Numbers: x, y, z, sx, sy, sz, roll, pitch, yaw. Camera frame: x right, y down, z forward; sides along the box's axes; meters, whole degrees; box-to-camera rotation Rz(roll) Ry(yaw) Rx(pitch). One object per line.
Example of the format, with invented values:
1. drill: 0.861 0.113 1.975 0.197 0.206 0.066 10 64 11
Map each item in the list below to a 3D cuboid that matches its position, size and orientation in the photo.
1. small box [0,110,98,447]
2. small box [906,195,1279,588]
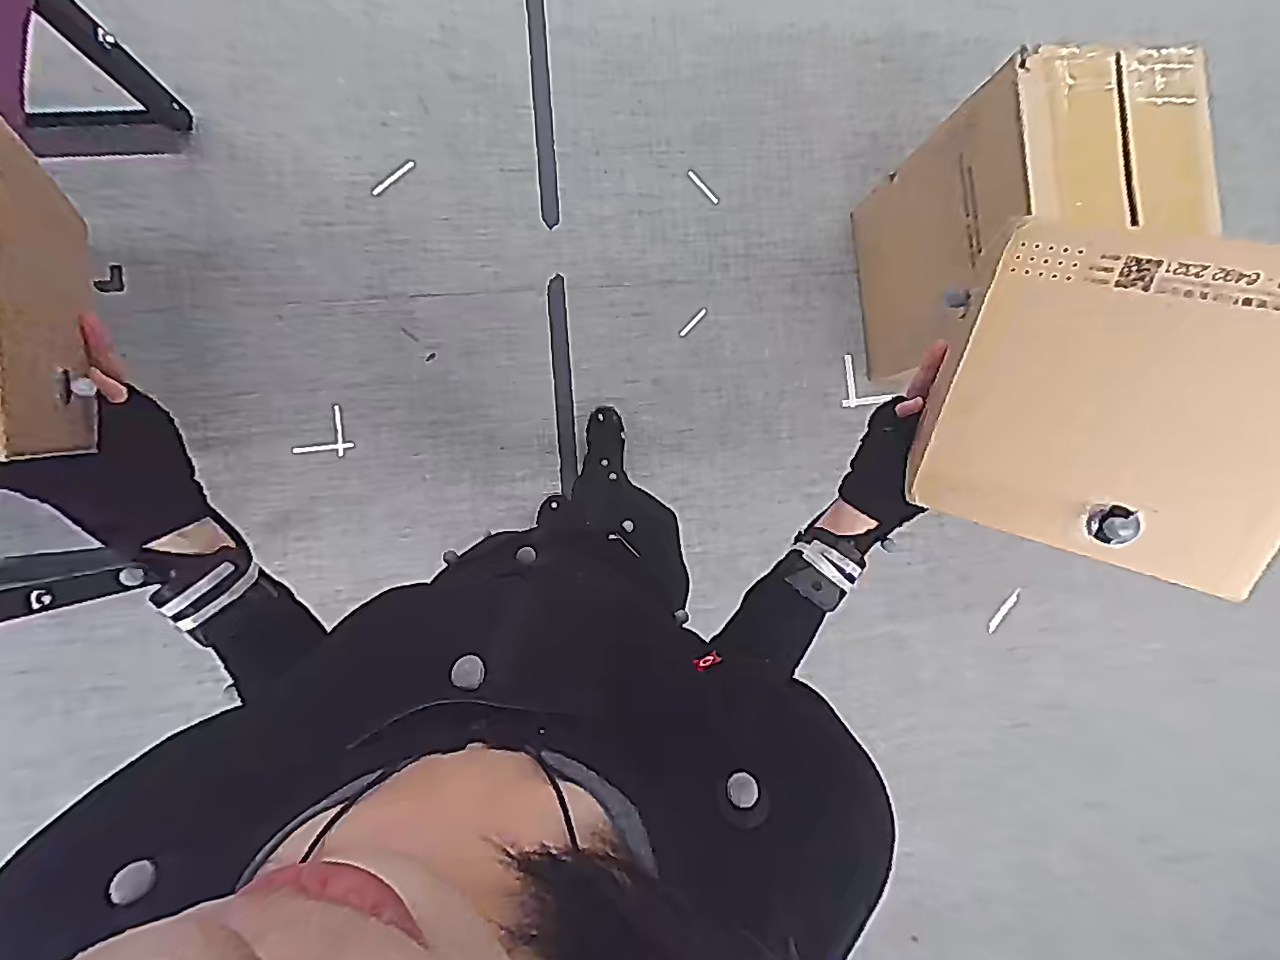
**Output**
1. small box: -0.408 -0.102 0.268 0.168 0.179 0.176 -4 95 -33
2. small box: 0.287 -0.065 0.347 0.168 0.179 0.176 19 111 22
